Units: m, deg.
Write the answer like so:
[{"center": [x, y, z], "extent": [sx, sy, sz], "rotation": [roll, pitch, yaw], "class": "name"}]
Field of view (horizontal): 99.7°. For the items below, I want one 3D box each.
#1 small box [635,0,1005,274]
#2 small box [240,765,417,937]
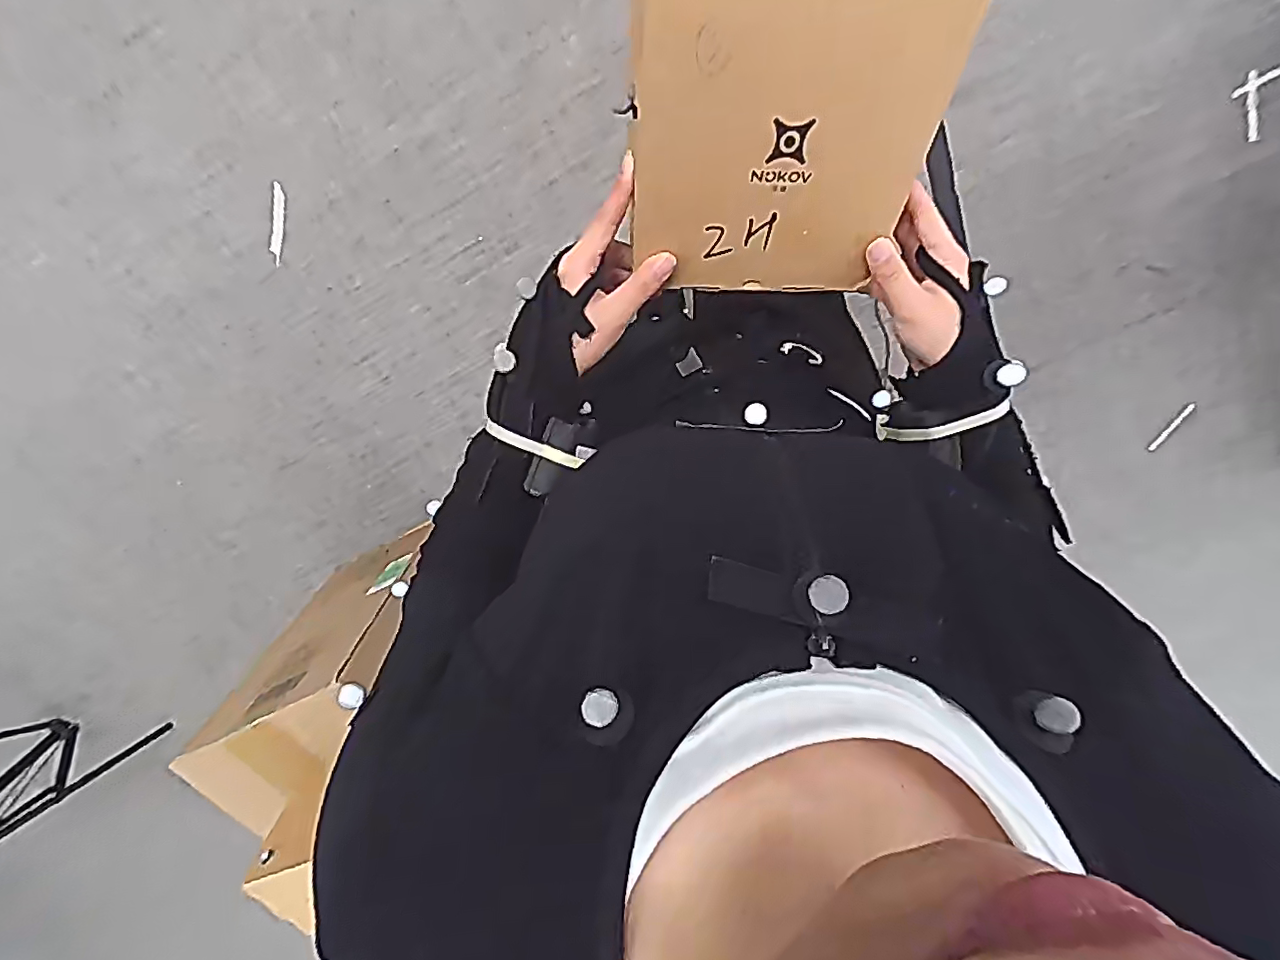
[{"center": [0.085, -0.257, 0.343], "extent": [0.168, 0.176, 0.179], "rotation": [0, 143, -4], "class": "small box"}, {"center": [-0.509, 0.624, 0.922], "extent": [0.179, 0.176, 0.168], "rotation": [-24, 114, 10], "class": "small box"}]
